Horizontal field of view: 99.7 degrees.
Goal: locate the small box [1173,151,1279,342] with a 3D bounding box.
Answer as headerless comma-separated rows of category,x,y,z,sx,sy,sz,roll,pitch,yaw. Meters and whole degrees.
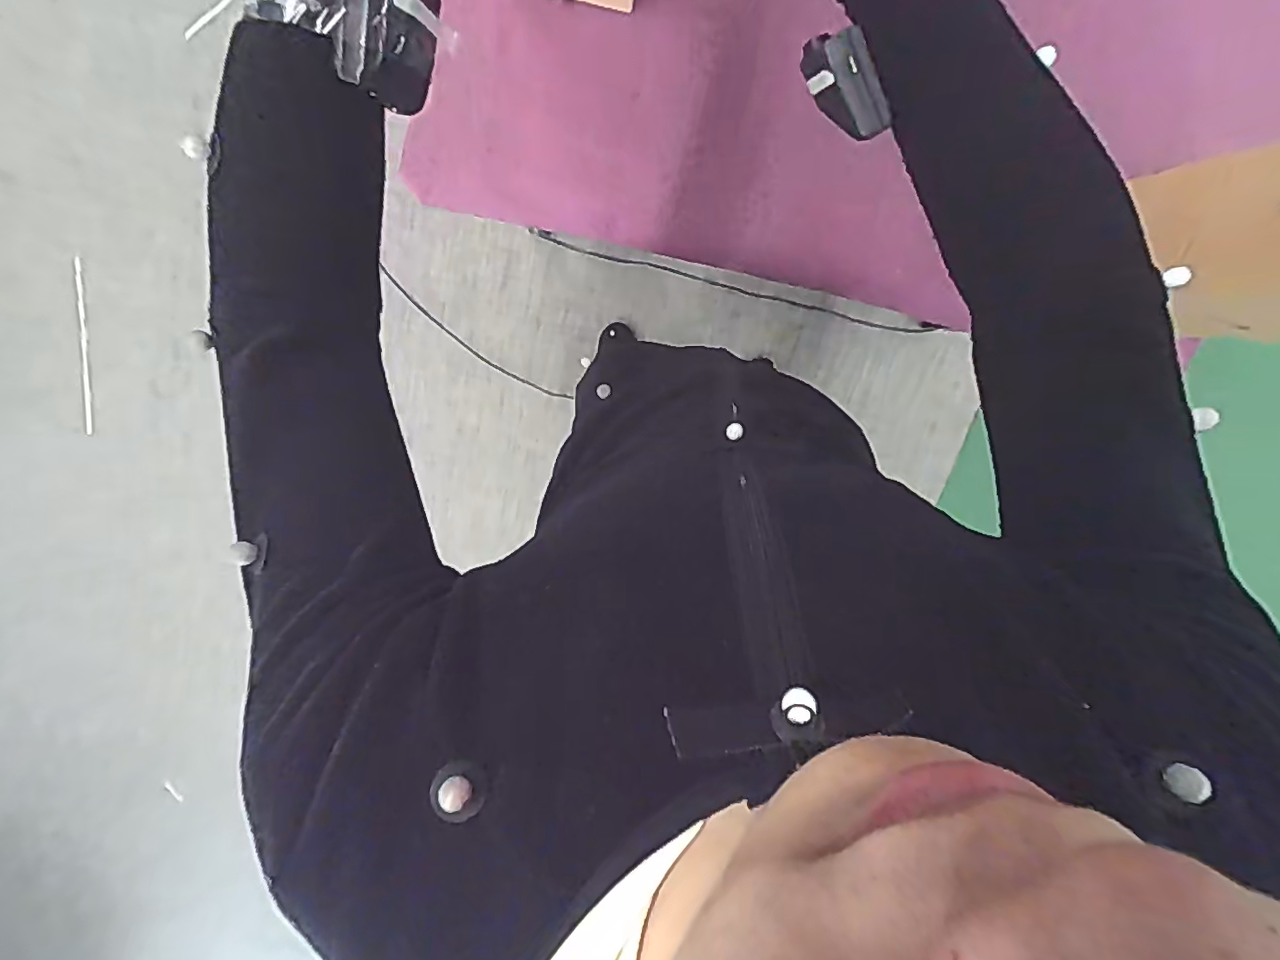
small box,0.756,-0.255,0.585,0.168,0.176,0.179,17,105,-6

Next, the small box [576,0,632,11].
small box,-0.072,-0.674,0.591,0.168,0.176,0.179,10,108,-5
